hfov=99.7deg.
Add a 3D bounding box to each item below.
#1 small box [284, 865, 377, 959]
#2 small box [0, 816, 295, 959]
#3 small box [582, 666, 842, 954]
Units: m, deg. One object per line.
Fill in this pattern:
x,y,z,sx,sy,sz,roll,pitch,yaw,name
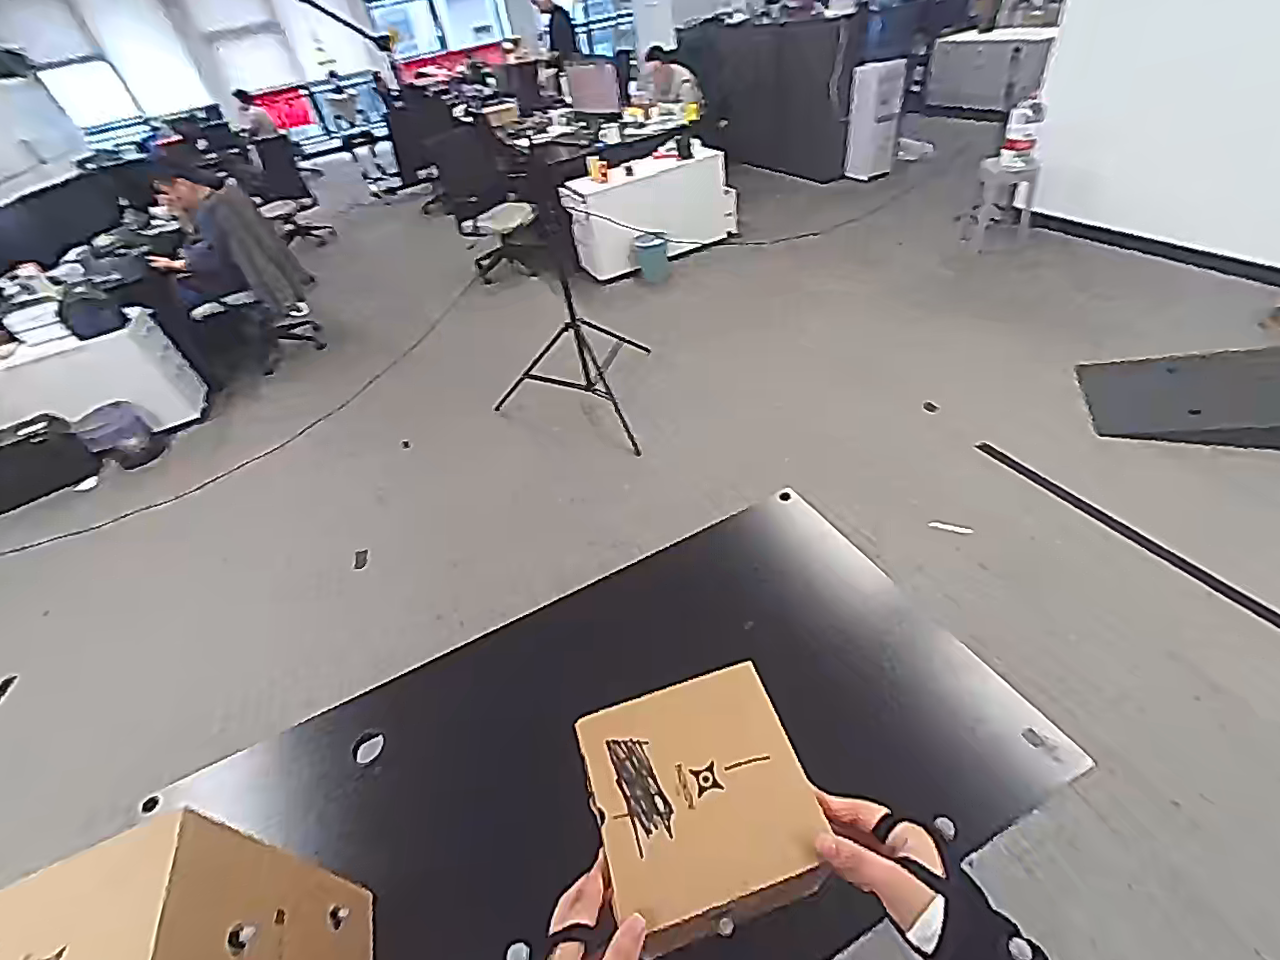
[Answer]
-0.388,0.546,0.553,0.168,0.176,0.179,-23,44,-11,small box
-0.421,0.424,0.447,0.179,0.176,0.168,-23,42,-10,small box
0.059,0.309,0.504,0.179,0.176,0.168,-16,46,-7,small box
